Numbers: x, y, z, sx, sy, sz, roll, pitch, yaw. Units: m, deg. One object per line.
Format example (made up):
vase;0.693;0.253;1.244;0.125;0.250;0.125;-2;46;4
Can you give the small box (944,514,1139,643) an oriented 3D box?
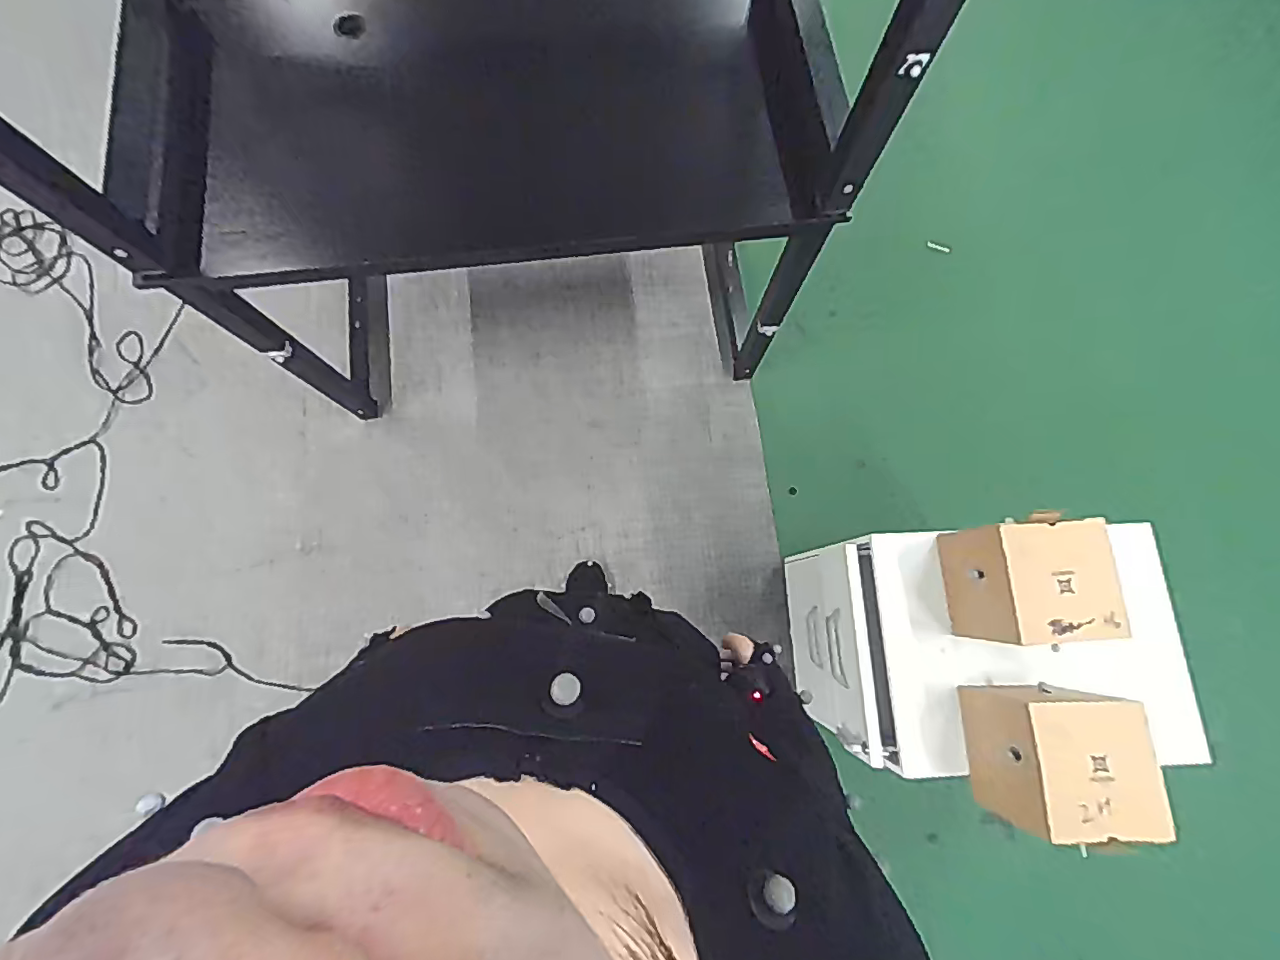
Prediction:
small box;0.608;0.156;0.846;0.168;0.176;0.179;-3;78;-2

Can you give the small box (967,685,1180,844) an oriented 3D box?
small box;0.611;0.400;0.790;0.168;0.176;0.179;-1;78;-1
